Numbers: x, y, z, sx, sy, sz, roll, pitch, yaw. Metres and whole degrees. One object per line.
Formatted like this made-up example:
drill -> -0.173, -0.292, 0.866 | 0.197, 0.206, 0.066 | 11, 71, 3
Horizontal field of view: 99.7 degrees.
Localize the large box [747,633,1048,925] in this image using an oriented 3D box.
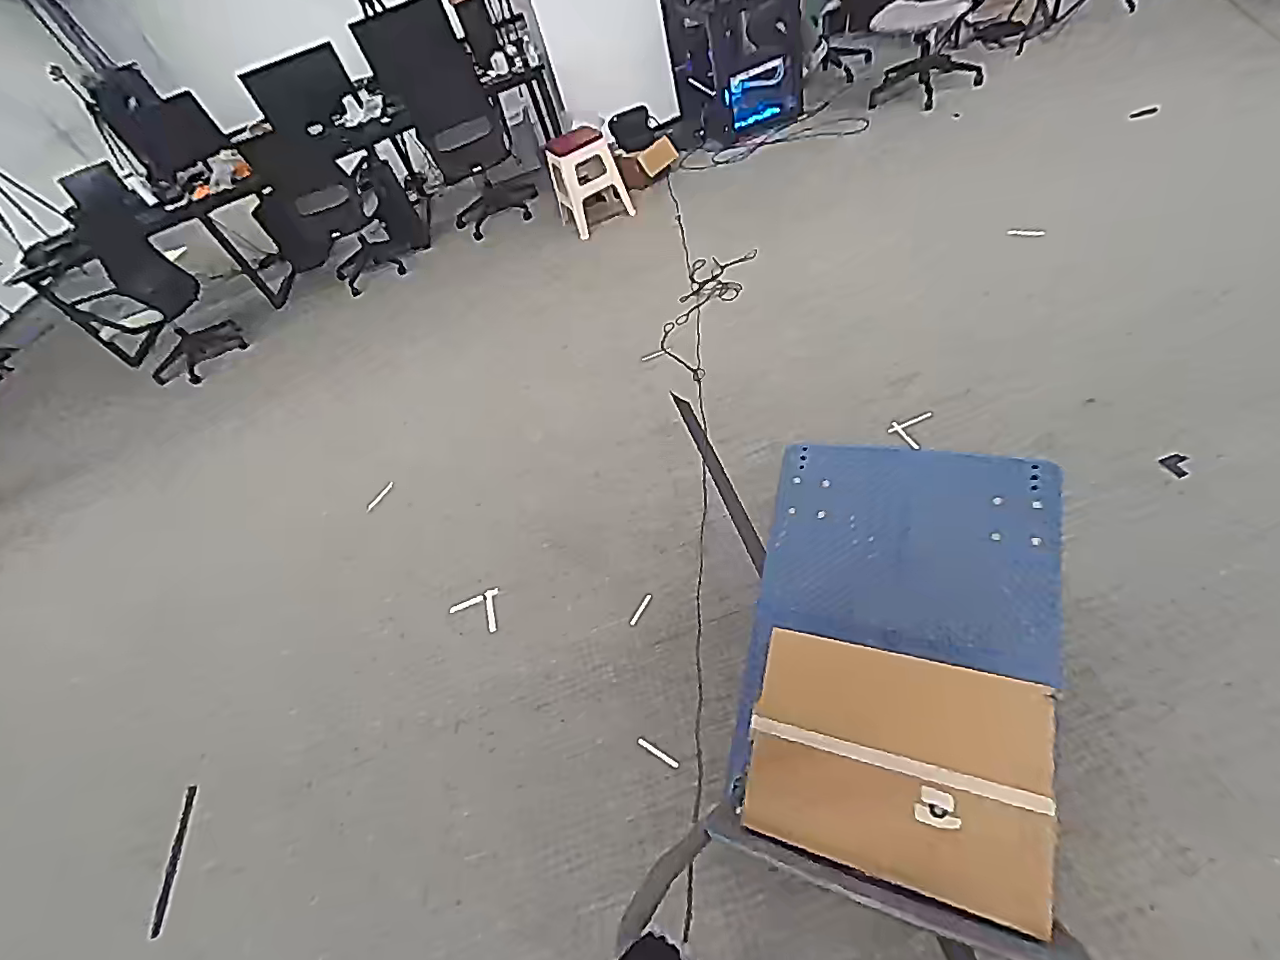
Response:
large box -> 0.433, 0.480, 0.955 | 0.408, 0.320, 0.320 | 6, 71, 24
